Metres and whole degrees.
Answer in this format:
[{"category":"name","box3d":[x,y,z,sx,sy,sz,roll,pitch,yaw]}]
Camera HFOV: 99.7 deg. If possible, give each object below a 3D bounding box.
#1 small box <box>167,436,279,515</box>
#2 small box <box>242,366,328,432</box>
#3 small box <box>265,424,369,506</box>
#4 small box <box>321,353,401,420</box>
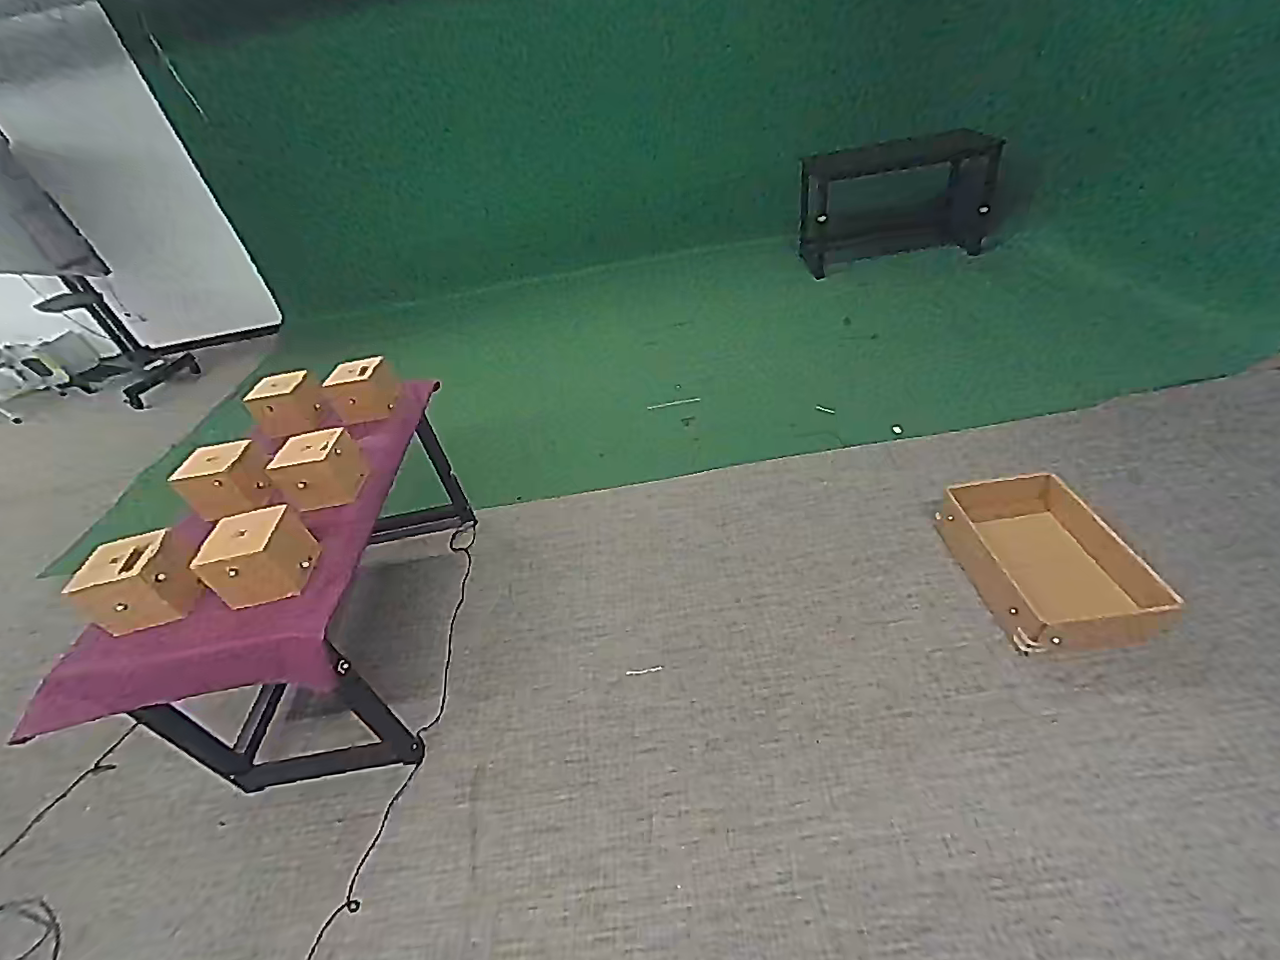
[{"category":"small box","box3d":[-1.257,-0.010,1.646,0.179,0.176,0.168,-9,39,1]},{"category":"small box","box3d":[-1.293,-0.292,1.983,0.179,0.176,0.168,-9,41,2]},{"category":"small box","box3d":[-0.947,-0.041,1.605,0.179,0.176,0.168,-10,40,4]},{"category":"small box","box3d":[-1.006,-0.338,1.968,0.179,0.176,0.168,-9,41,6]}]
